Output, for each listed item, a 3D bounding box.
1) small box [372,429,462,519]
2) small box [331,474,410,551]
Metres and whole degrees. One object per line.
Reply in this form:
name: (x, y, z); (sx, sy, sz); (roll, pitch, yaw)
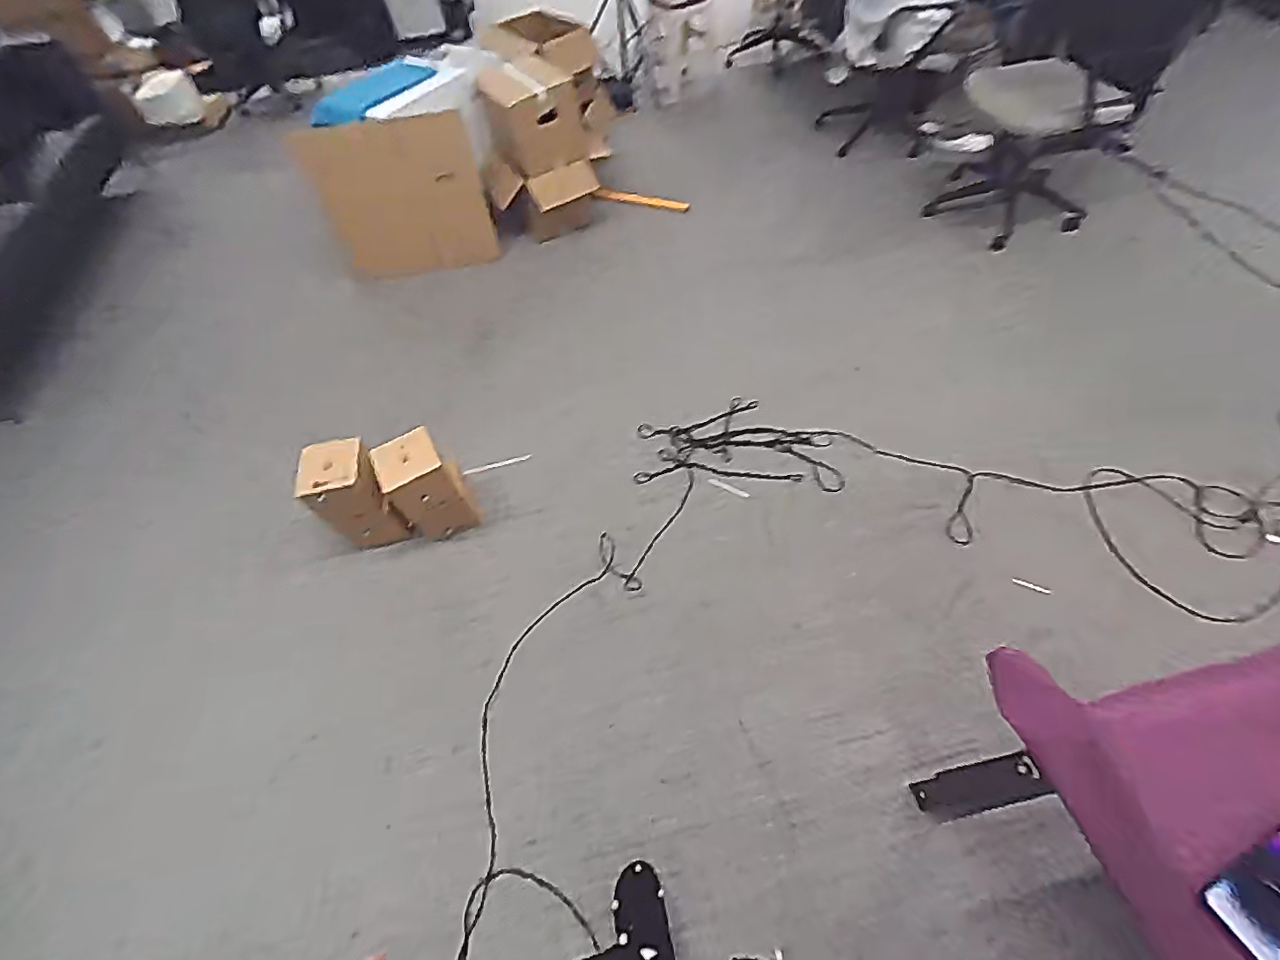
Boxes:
small box: (-0.643, -0.009, 1.572); (0.168, 0.176, 0.179); (-28, 57, -13)
small box: (-0.840, 0.103, 1.711); (0.179, 0.176, 0.168); (-14, 54, -3)
